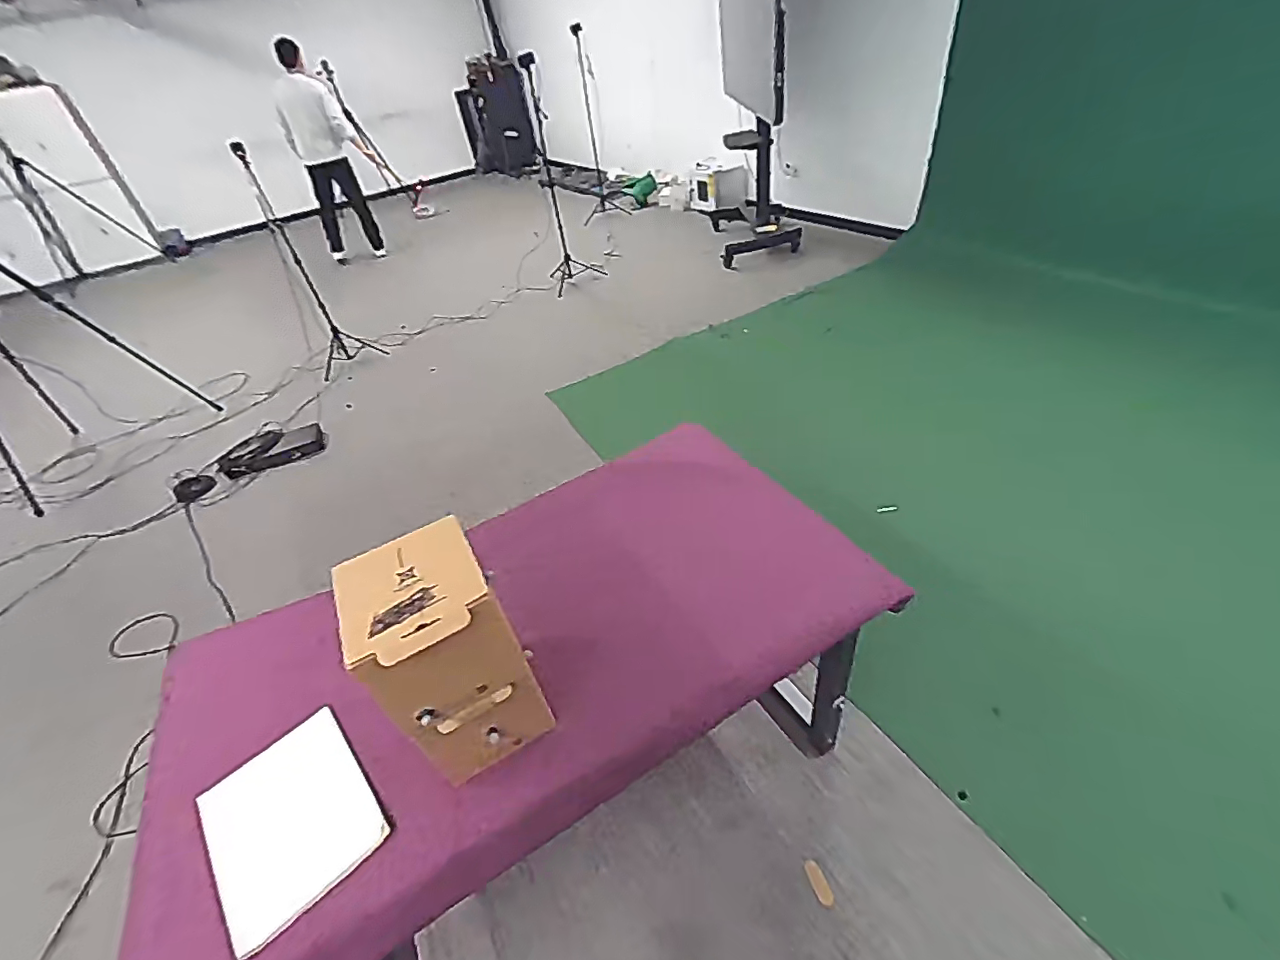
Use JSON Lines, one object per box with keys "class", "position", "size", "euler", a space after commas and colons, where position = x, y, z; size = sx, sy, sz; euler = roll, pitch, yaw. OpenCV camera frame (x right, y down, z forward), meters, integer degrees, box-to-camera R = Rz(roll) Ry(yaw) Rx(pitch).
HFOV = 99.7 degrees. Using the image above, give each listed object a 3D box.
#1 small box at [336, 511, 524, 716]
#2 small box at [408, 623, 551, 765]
{"class": "small box", "position": [-0.272, 0.180, 0.715], "size": [0.168, 0.176, 0.179], "euler": [-25, 41, -18]}
{"class": "small box", "position": [-0.253, 0.301, 0.825], "size": [0.168, 0.176, 0.179], "euler": [-25, 43, -18]}
